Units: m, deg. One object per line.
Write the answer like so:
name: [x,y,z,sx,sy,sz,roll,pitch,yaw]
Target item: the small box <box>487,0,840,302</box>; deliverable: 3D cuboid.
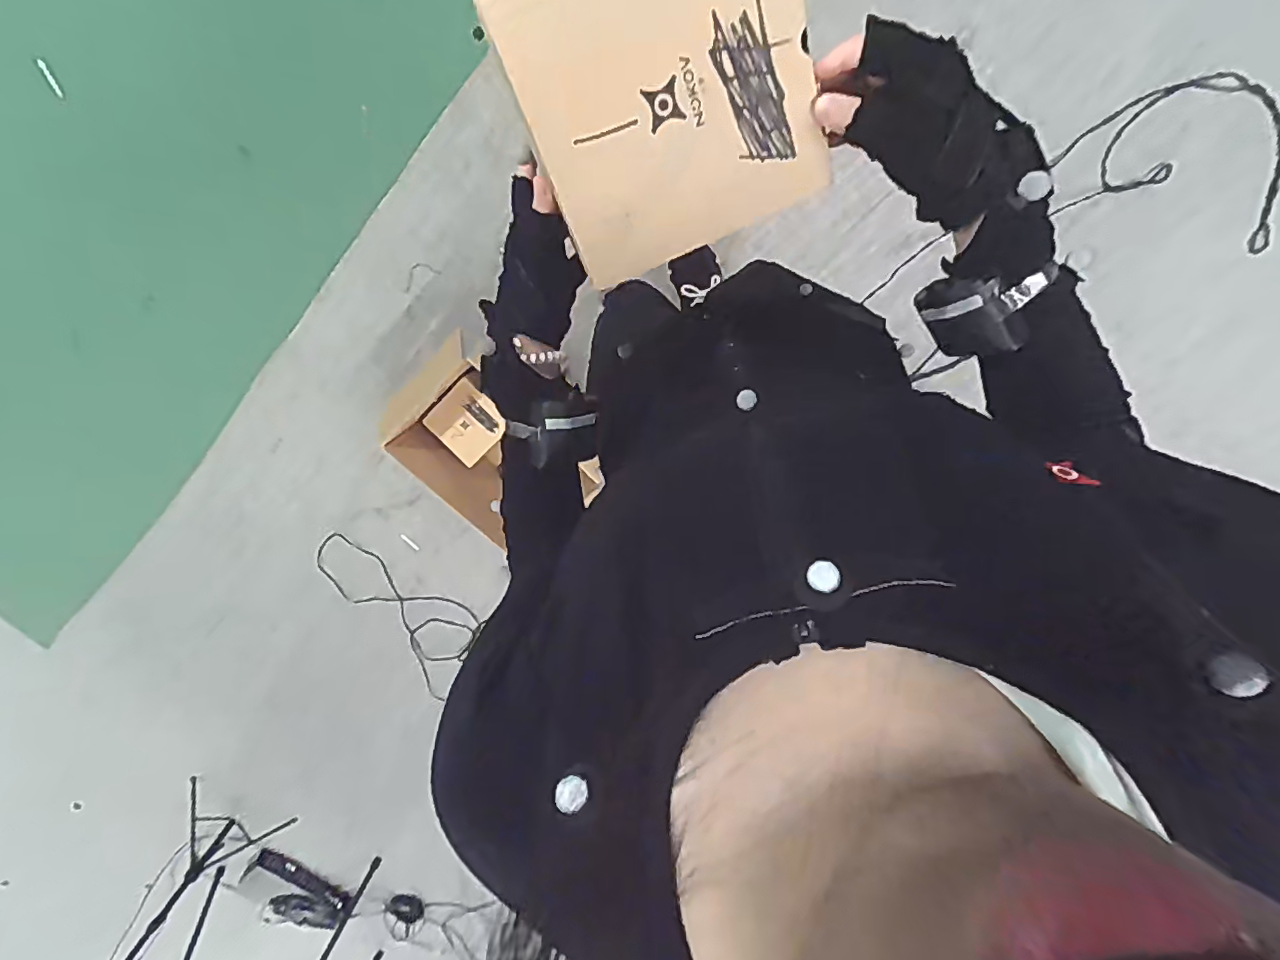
small box: [0.011,-0.255,0.381,0.179,0.176,0.168,-23,123,3]
